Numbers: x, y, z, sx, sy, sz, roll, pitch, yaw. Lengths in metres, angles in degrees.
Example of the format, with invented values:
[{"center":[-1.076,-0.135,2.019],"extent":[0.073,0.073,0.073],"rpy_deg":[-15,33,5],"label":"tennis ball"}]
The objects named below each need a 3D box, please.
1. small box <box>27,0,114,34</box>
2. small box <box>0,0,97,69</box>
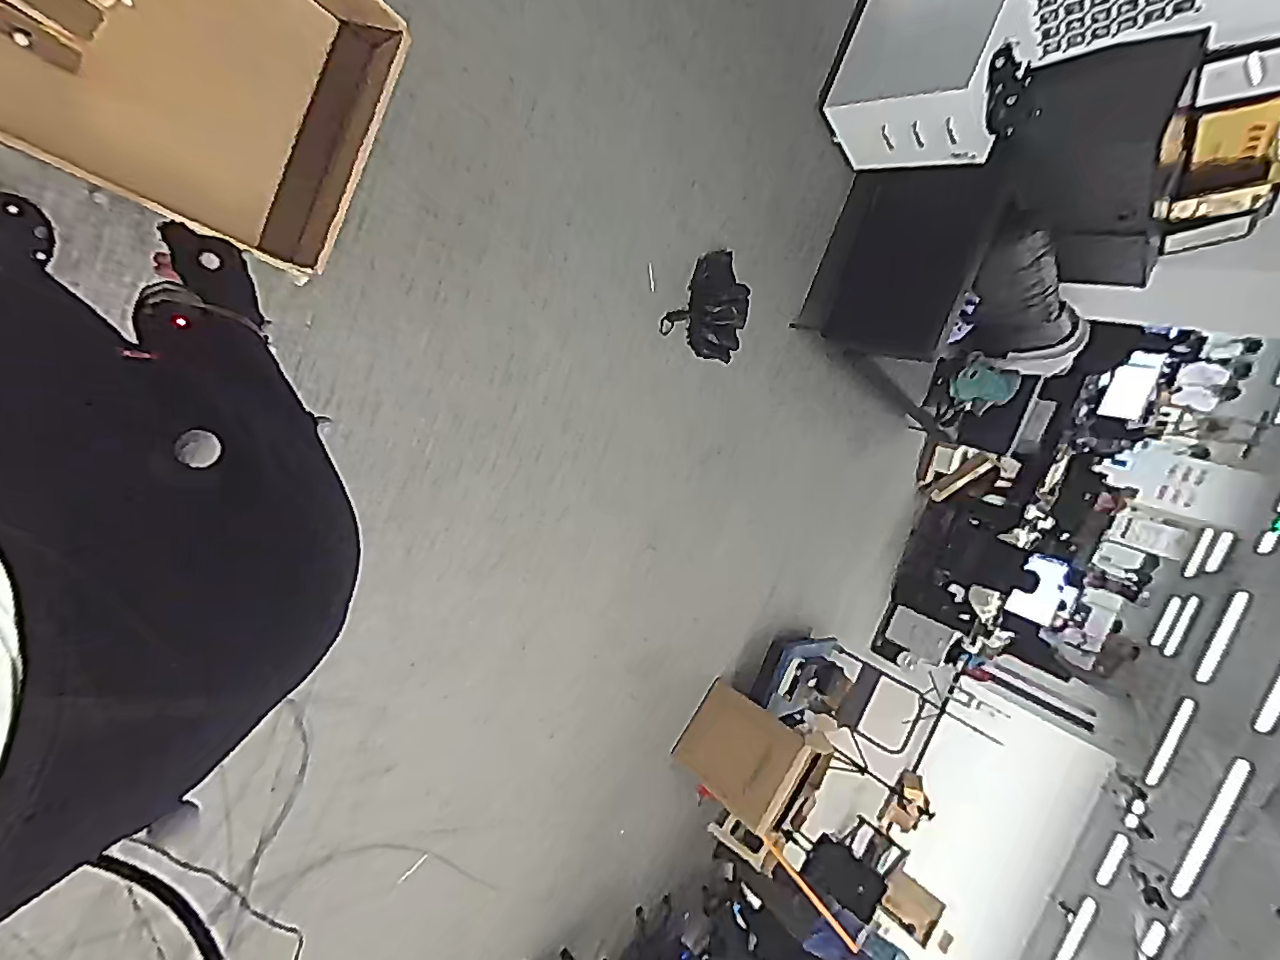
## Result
[{"center":[-0.528,-0.525,0.451],"extent":[0.168,0.176,0.179],"rpy_deg":[22,93,-53],"label":"small box"},{"center":[-0.651,-0.569,0.551],"extent":[0.168,0.176,0.179],"rpy_deg":[22,90,-52],"label":"small box"}]
